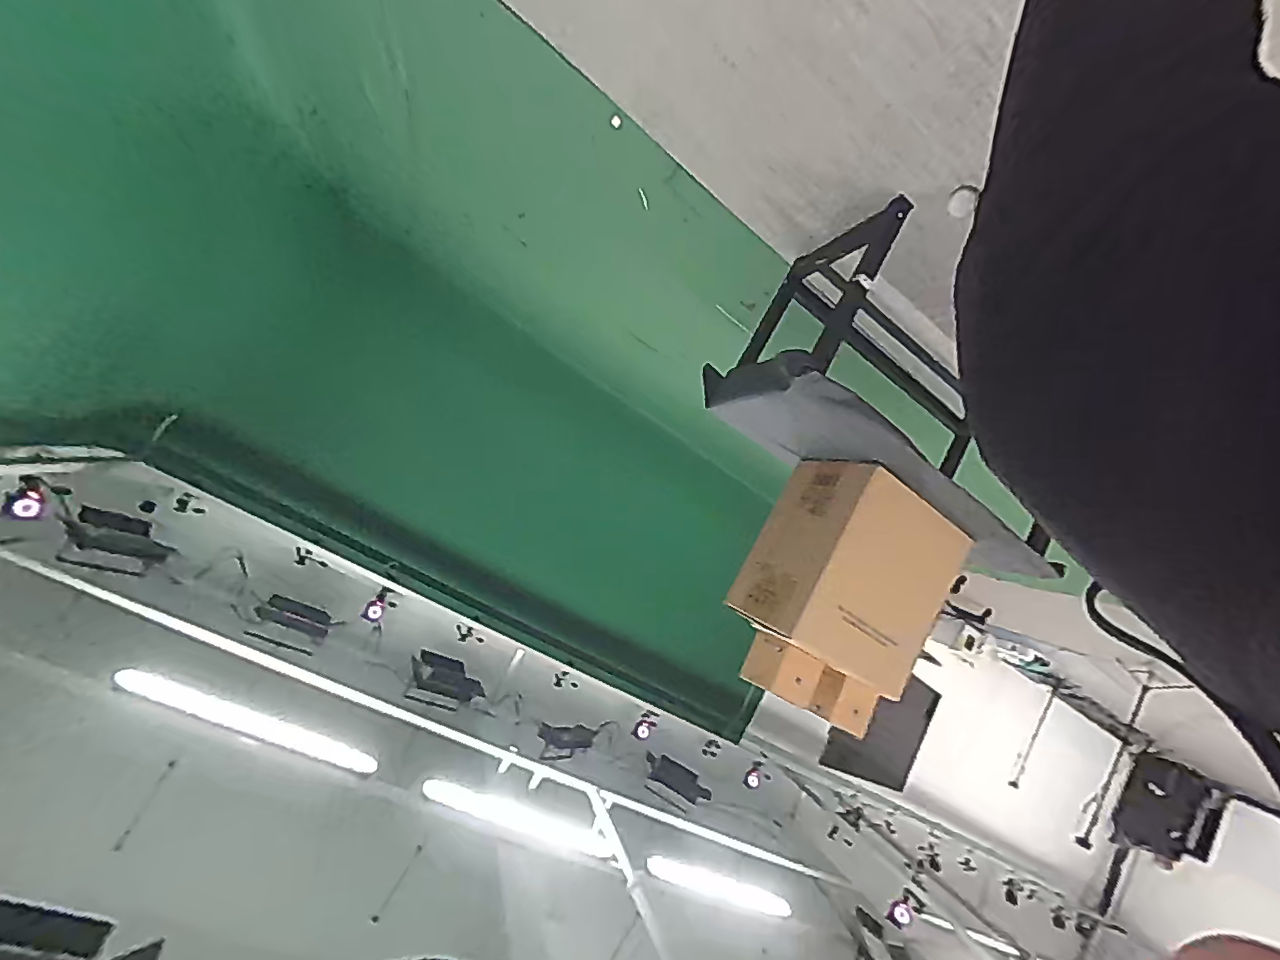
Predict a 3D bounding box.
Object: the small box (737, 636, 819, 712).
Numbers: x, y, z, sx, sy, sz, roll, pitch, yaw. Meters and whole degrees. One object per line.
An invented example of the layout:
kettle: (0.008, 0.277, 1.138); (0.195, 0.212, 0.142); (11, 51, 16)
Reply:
small box: (0.470, 0.651, 1.837); (0.179, 0.176, 0.168); (33, 166, -22)

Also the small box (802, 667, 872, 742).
small box: (0.682, 0.782, 1.906); (0.179, 0.176, 0.168); (33, 166, -21)
